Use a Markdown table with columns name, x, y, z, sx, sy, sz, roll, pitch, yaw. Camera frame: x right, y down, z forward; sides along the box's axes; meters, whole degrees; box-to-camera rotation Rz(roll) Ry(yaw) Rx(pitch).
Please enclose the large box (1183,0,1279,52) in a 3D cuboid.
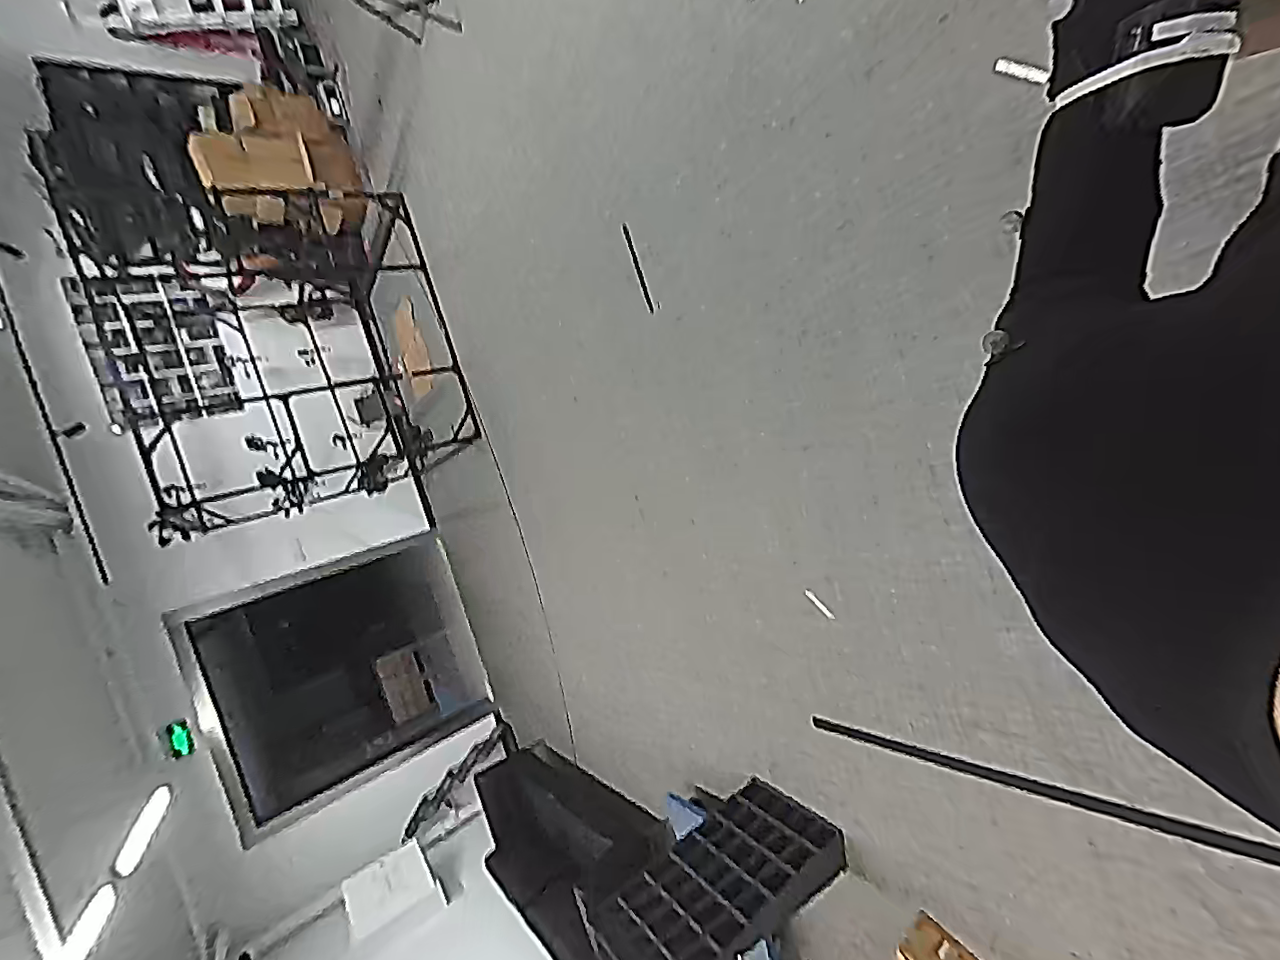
| name | x | y | z | sx | sy | sz | roll | pitch | yaw |
| --- | --- | --- | --- | --- | --- | --- | --- | --- | --- |
| large box | 0.560 | -0.479 | 0.248 | 0.408 | 0.320 | 0.320 | 12 | 121 | 47 |
